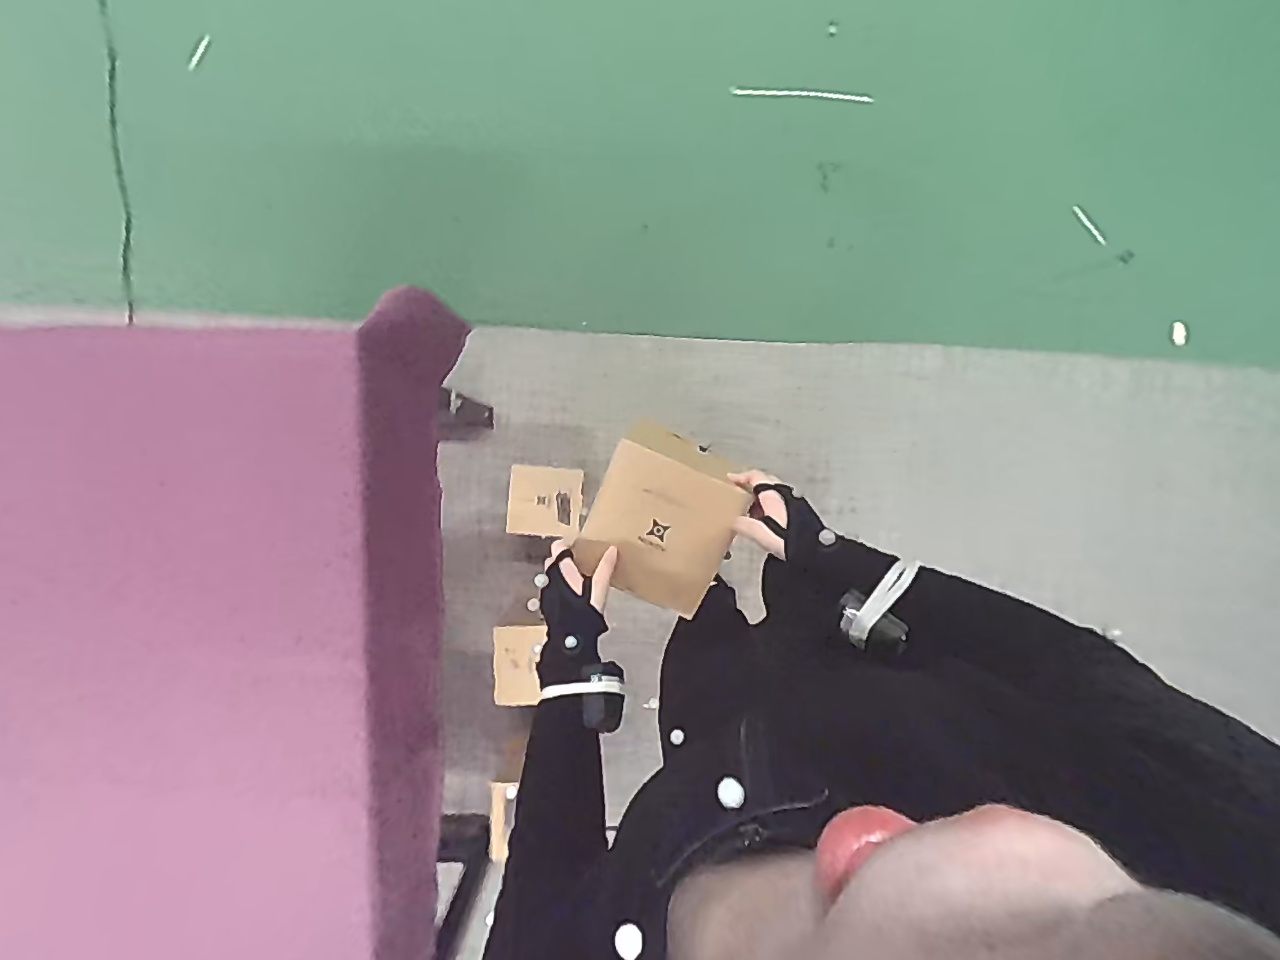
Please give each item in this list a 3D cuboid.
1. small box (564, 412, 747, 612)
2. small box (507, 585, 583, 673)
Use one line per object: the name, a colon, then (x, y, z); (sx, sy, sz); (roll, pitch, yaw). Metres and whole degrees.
small box: (0.025, 0.031, 0.703); (0.168, 0.176, 0.179); (25, 108, -1)
small box: (-0.236, 0.373, 1.375); (0.168, 0.176, 0.179); (1, 91, 0)
